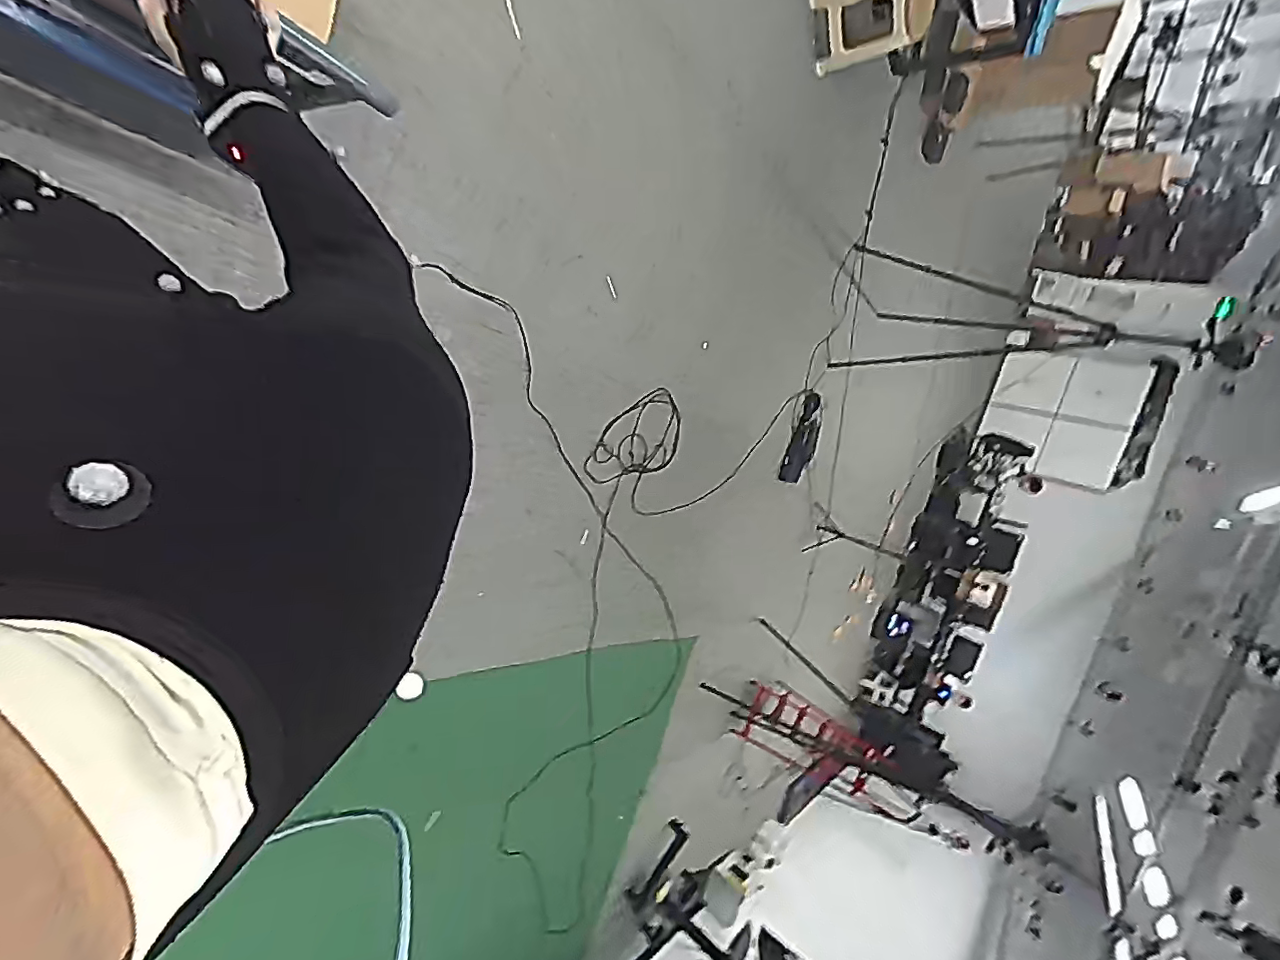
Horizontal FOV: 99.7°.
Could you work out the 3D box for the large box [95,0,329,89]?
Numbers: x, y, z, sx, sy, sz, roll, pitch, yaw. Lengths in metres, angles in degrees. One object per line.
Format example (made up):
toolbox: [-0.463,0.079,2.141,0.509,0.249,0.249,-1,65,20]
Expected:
large box: [-0.696,-0.942,0.858,0.320,0.320,0.408,8,101,-52]
